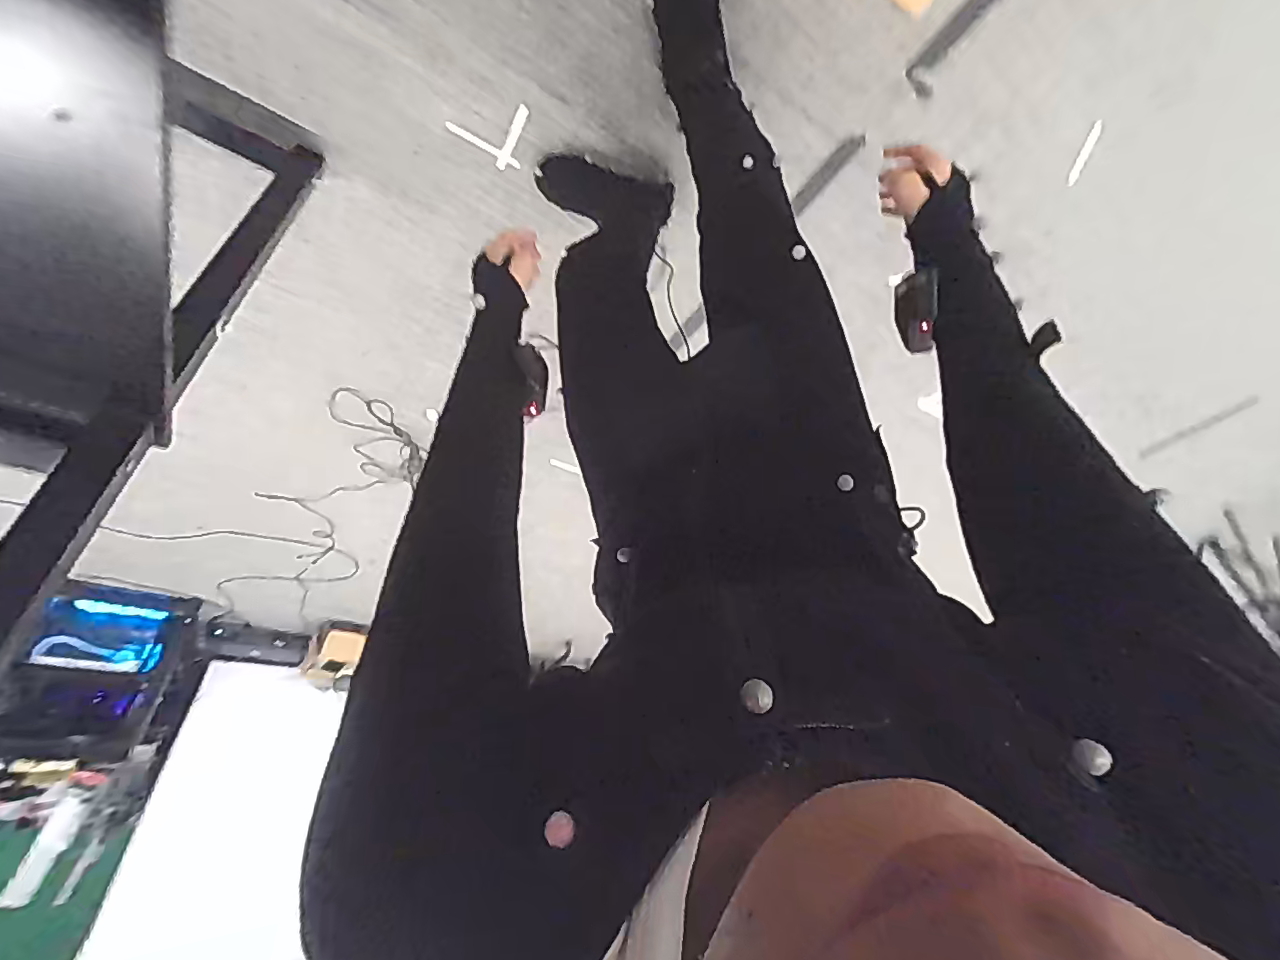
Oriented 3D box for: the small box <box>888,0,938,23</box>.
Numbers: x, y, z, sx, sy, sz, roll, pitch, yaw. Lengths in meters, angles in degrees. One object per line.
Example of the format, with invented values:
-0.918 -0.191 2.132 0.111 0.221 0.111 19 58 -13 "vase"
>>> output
0.268 -0.627 0.546 0.179 0.176 0.168 18 139 -25 "small box"
